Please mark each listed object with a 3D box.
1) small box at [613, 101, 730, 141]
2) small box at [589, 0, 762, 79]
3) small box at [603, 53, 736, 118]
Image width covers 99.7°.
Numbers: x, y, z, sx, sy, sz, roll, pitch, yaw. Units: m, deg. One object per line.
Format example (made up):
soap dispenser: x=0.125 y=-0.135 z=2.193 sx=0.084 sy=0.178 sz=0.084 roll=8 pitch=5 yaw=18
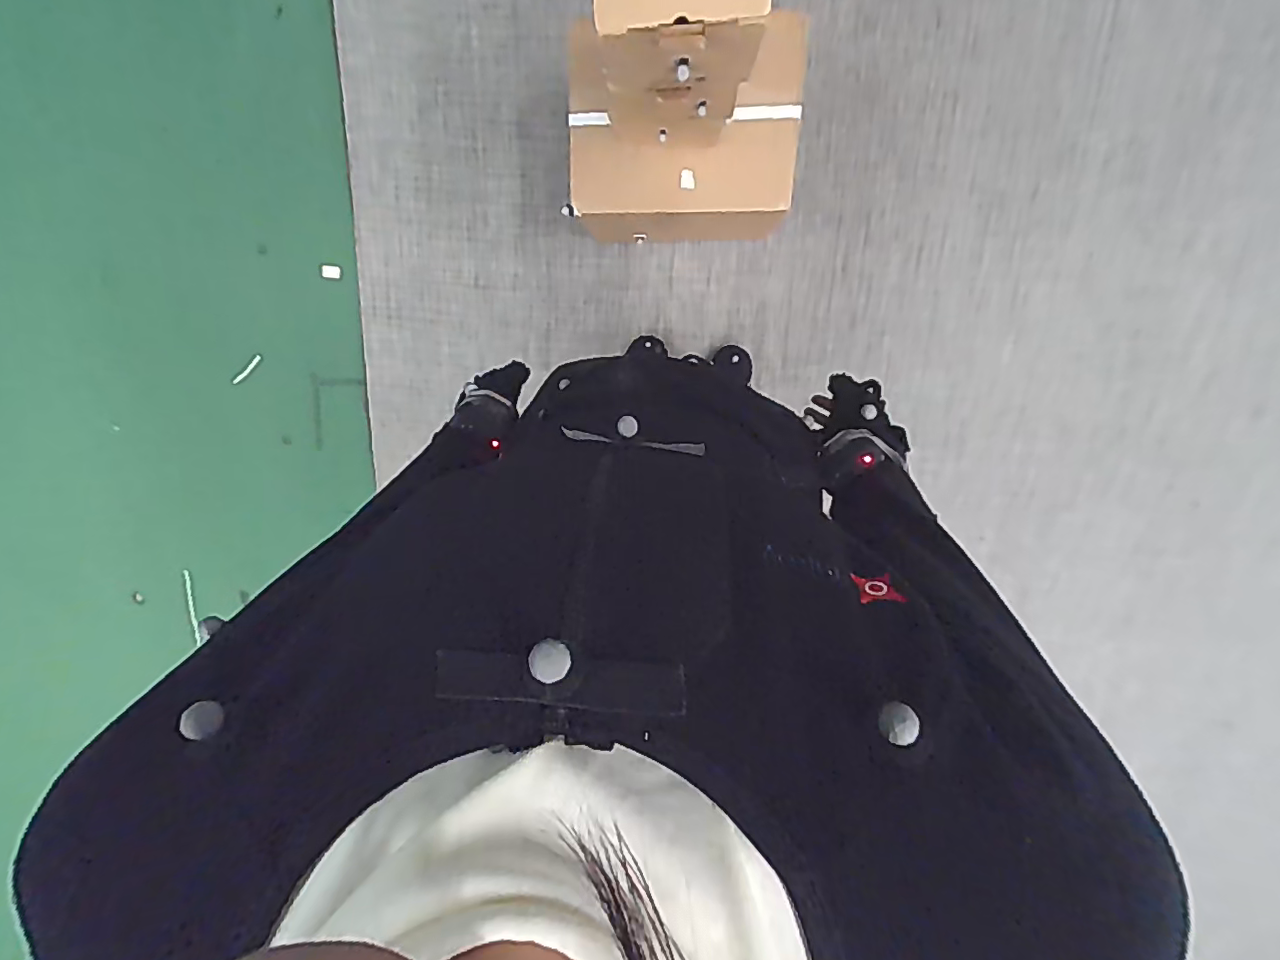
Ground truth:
small box: x=0.053 y=-0.650 z=0.858 sx=0.179 sy=0.176 sz=0.168 roll=2 pitch=112 yaw=6
small box: x=0.040 y=-0.536 z=0.553 sx=0.168 sy=0.176 sz=0.179 roll=0 pitch=112 yaw=6
small box: x=0.043 y=-0.594 z=0.706 sx=0.168 sy=0.176 sz=0.179 roll=0 pitch=110 yaw=6
